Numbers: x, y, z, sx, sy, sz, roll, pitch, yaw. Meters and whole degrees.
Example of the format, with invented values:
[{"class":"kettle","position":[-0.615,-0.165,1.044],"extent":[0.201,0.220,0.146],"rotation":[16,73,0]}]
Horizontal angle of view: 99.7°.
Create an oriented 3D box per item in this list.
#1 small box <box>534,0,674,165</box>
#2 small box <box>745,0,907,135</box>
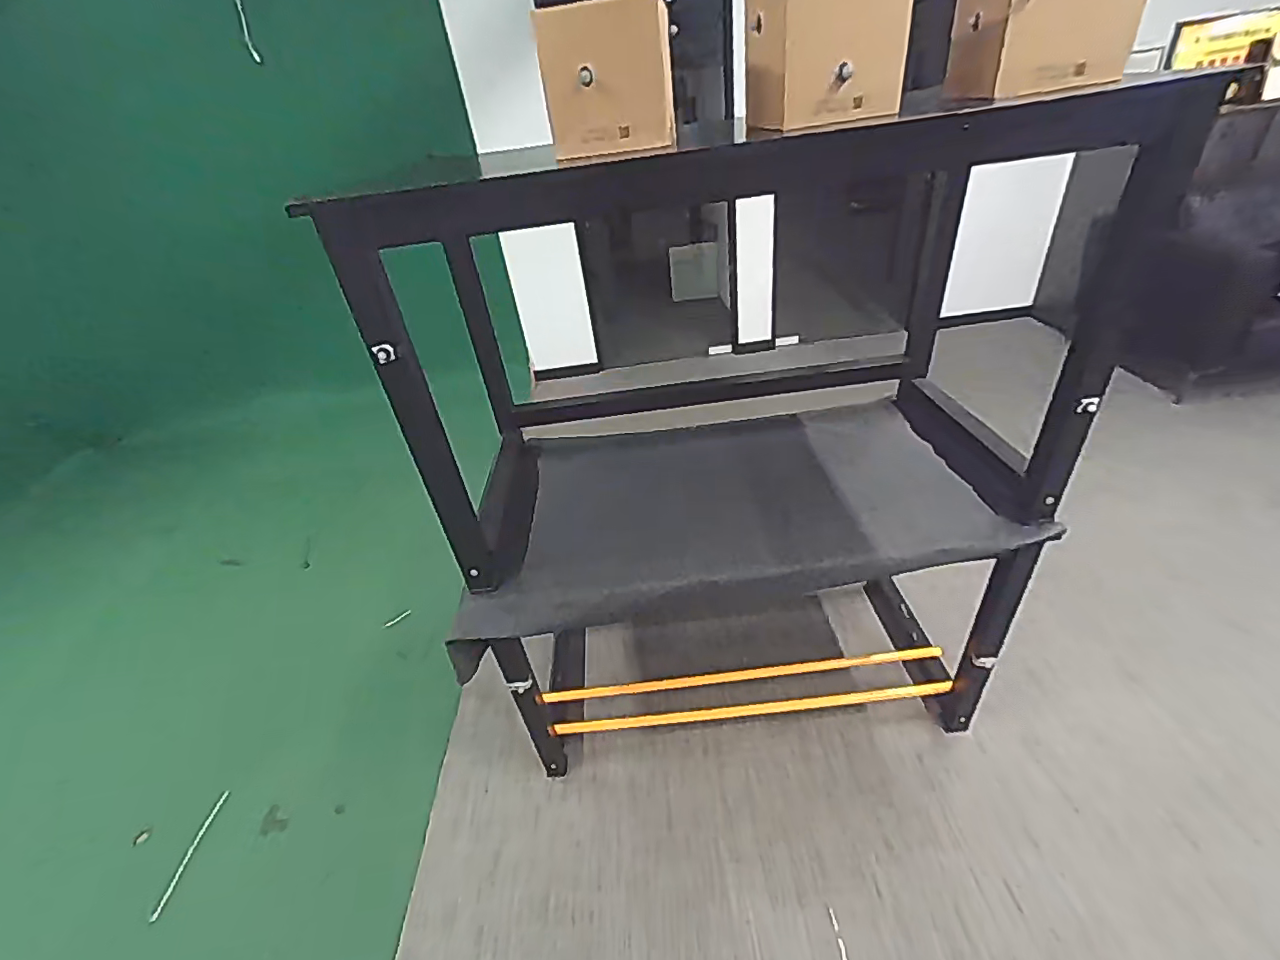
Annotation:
[{"class":"small box","position":[-0.040,-0.572,0.798],"extent":[0.168,0.176,0.179],"rotation":[-3,34,8]},{"class":"small box","position":[0.252,-0.601,0.773],"extent":[0.168,0.176,0.179],"rotation":[-10,34,-2]}]
